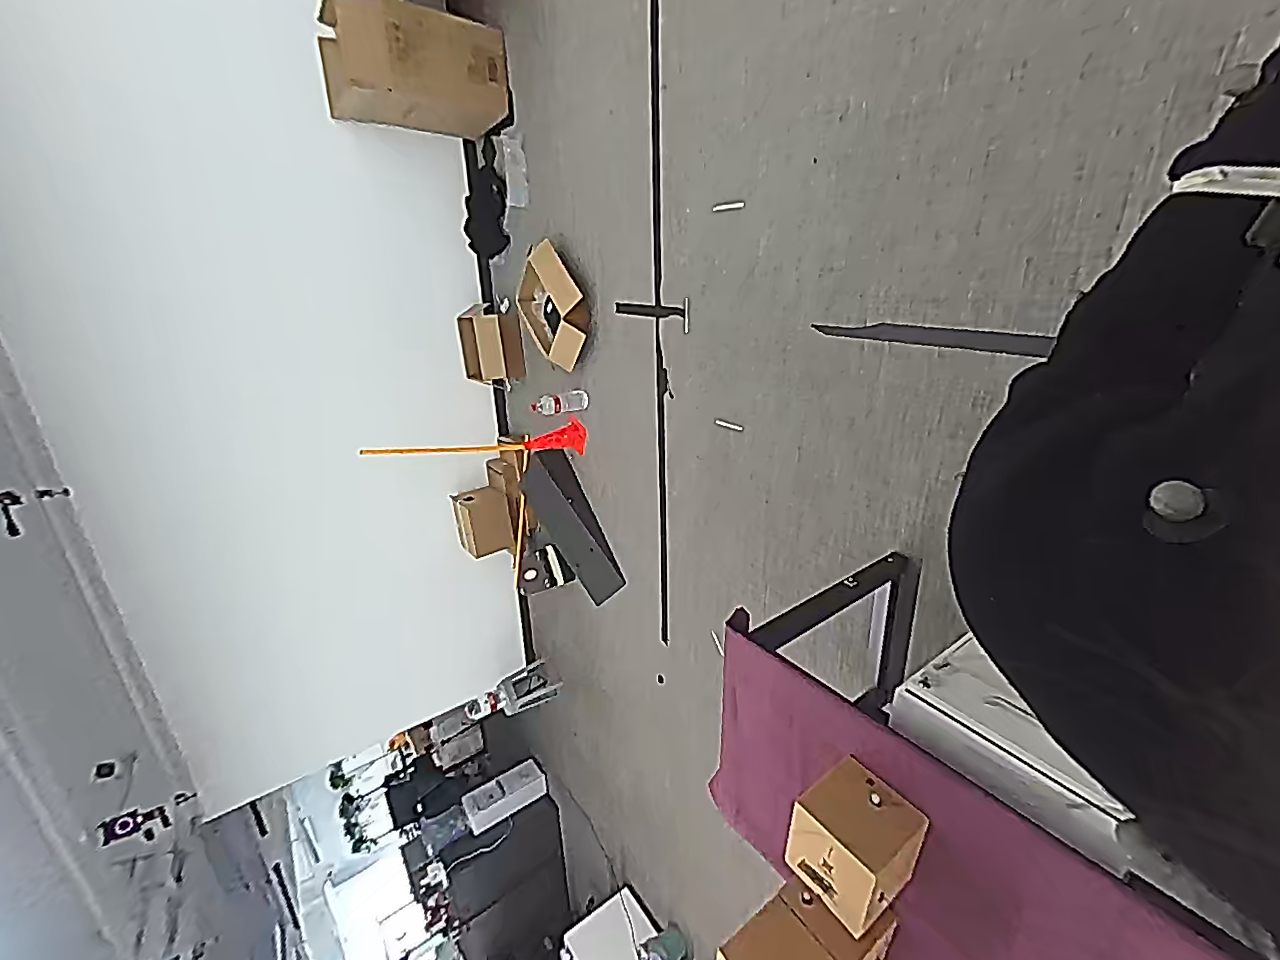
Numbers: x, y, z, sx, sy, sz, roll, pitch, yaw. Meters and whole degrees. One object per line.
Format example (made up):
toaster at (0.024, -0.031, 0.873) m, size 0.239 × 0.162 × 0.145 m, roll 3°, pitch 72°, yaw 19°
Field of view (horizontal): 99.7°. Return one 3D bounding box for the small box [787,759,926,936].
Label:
small box at (0.397, 0.667, 0.999) m, size 0.168 × 0.176 × 0.179 m, roll 29°, pitch 127°, yaw 47°

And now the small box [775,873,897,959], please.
small box at (0.392, 0.926, 1.116) m, size 0.179 × 0.176 × 0.168 m, roll 29°, pitch 126°, yaw 47°

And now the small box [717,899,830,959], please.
small box at (0.260, 0.964, 1.026) m, size 0.179 × 0.176 × 0.168 m, roll 31°, pitch 126°, yaw 46°
